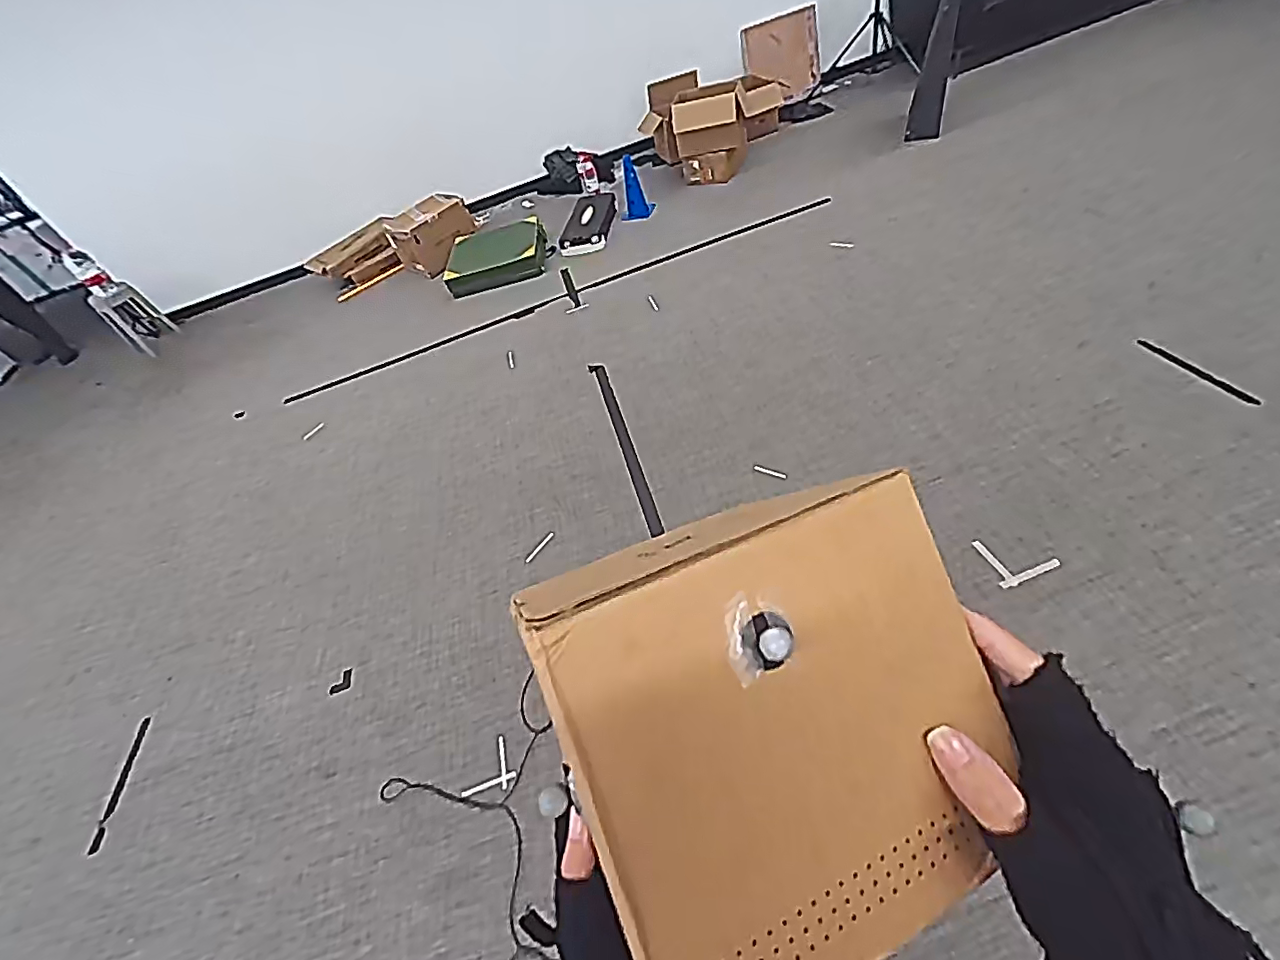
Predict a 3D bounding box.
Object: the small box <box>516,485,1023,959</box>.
[{"bbox_3d":[0.048,0.119,0.283,0.179,0.168,0.176,-20,87,-16],"label":"small box"}]
